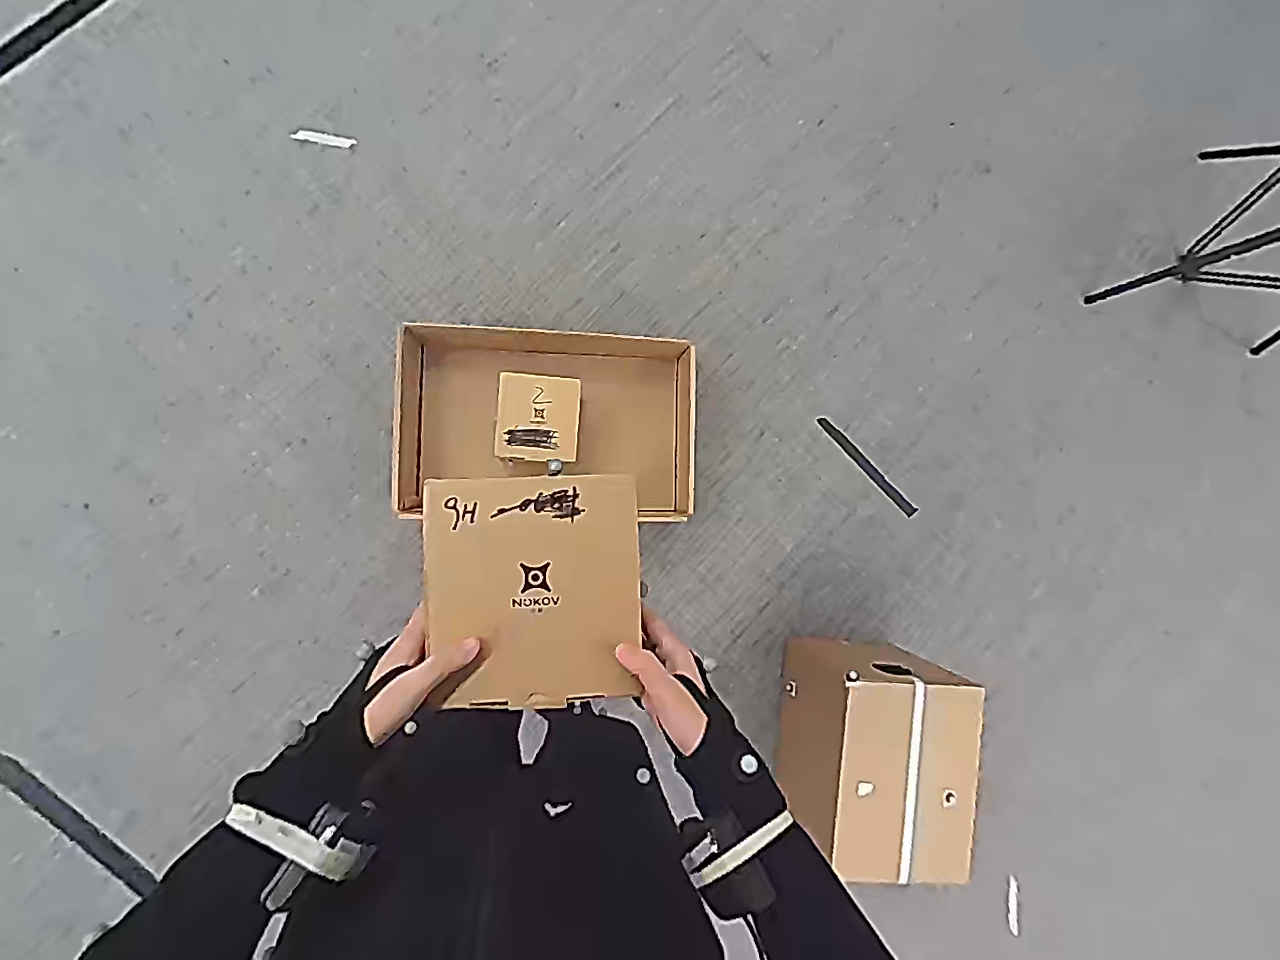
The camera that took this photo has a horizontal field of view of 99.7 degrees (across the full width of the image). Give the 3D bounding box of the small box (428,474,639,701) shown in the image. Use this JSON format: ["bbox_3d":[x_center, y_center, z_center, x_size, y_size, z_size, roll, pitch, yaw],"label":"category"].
[{"bbox_3d":[-0.088,0.084,0.502,0.168,0.176,0.179,-1,88,-5],"label":"small box"}]
